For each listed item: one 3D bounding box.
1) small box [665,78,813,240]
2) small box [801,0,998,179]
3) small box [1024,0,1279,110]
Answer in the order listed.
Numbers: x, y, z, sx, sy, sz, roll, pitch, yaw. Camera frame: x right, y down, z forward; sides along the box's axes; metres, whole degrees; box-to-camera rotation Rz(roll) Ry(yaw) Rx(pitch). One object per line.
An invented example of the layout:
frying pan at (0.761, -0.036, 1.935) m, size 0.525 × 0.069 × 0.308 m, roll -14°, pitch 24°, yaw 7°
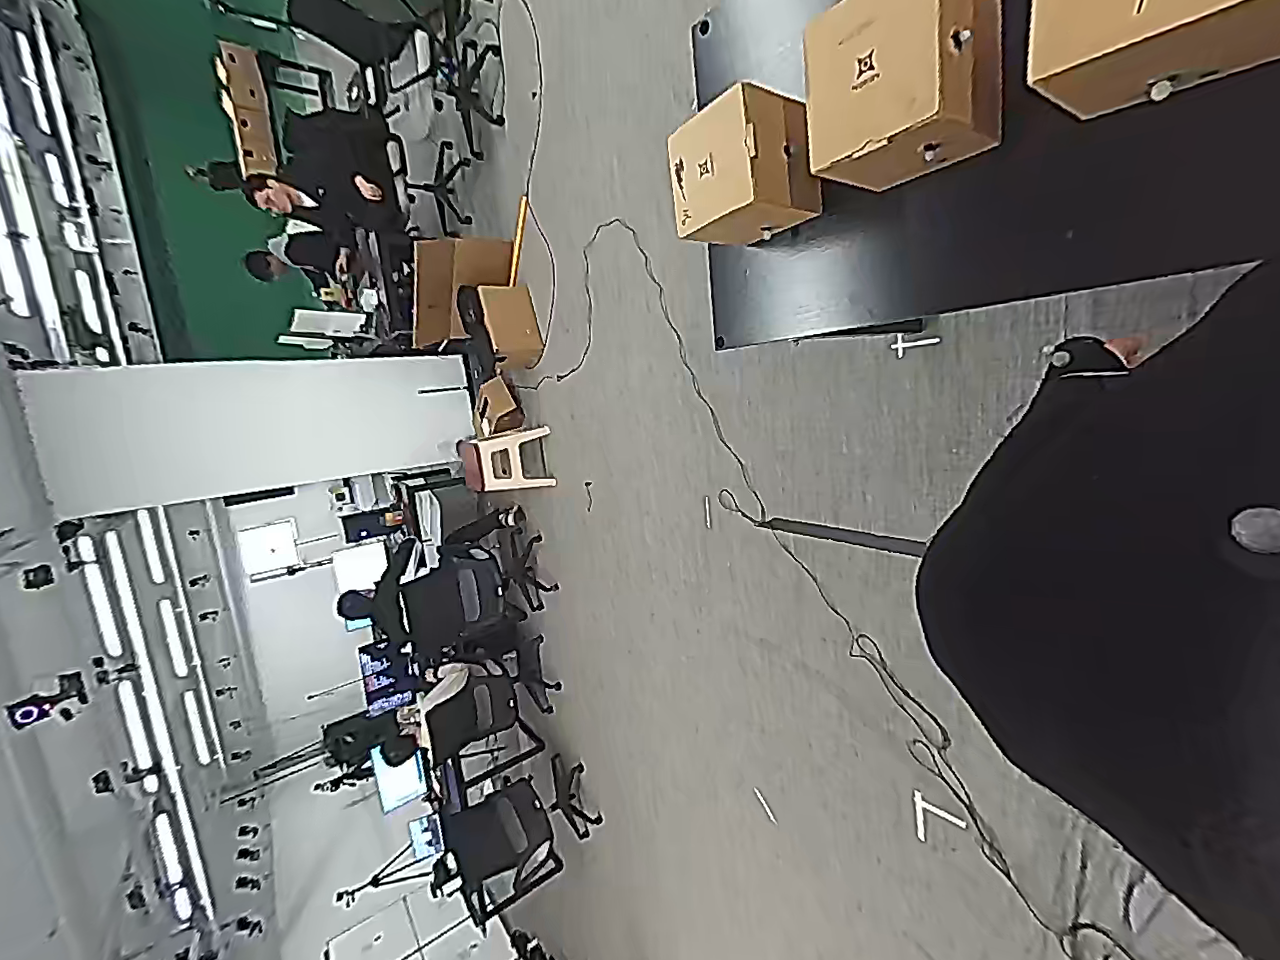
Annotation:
small box at (0.167, -0.506, 0.884) m, size 0.179 × 0.176 × 0.168 m, roll 3°, pitch 102°, yaw 53°
small box at (0.323, -0.497, 0.674) m, size 0.168 × 0.176 × 0.179 m, roll 5°, pitch 103°, yaw 53°
small box at (0.471, -0.466, 0.475) m, size 0.168 × 0.176 × 0.179 m, roll 13°, pitch 111°, yaw 52°
